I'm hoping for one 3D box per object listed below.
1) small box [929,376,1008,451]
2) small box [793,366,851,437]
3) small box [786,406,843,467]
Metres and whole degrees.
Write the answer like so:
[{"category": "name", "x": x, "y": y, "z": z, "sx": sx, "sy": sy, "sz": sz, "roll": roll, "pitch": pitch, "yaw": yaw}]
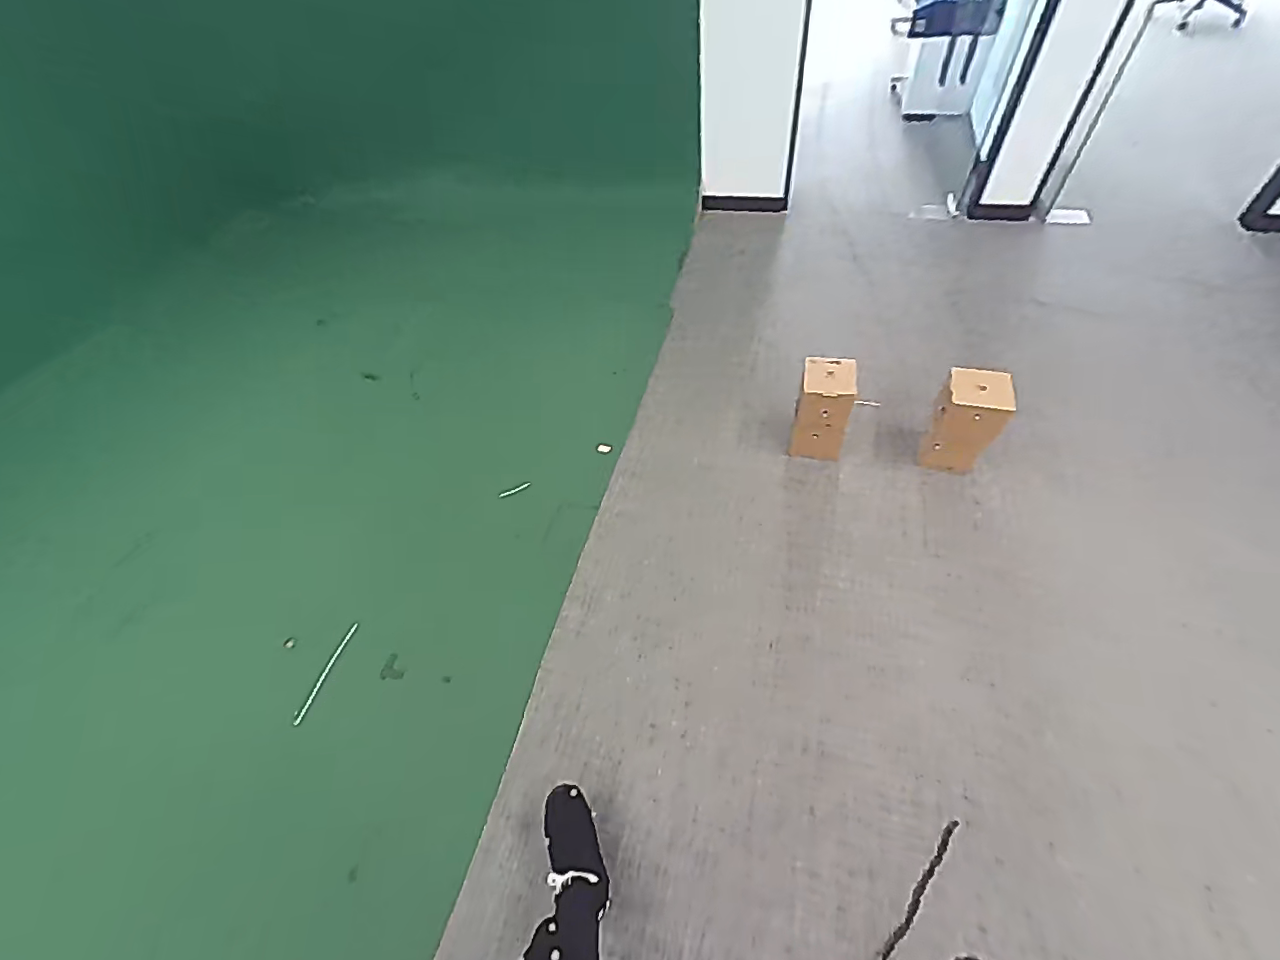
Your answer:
[{"category": "small box", "x": 1.058, "y": -0.213, "z": 1.759, "sx": 0.179, "sy": 0.176, "sz": 0.168, "roll": 10, "pitch": 55, "yaw": 13}, {"category": "small box", "x": 0.620, "y": -0.266, "z": 1.850, "sx": 0.168, "sy": 0.176, "sz": 0.179, "roll": 6, "pitch": 54, "yaw": 10}, {"category": "small box", "x": 0.637, "y": -0.165, "z": 1.978, "sx": 0.179, "sy": 0.176, "sz": 0.168, "roll": 9, "pitch": 54, "yaw": 12}]
